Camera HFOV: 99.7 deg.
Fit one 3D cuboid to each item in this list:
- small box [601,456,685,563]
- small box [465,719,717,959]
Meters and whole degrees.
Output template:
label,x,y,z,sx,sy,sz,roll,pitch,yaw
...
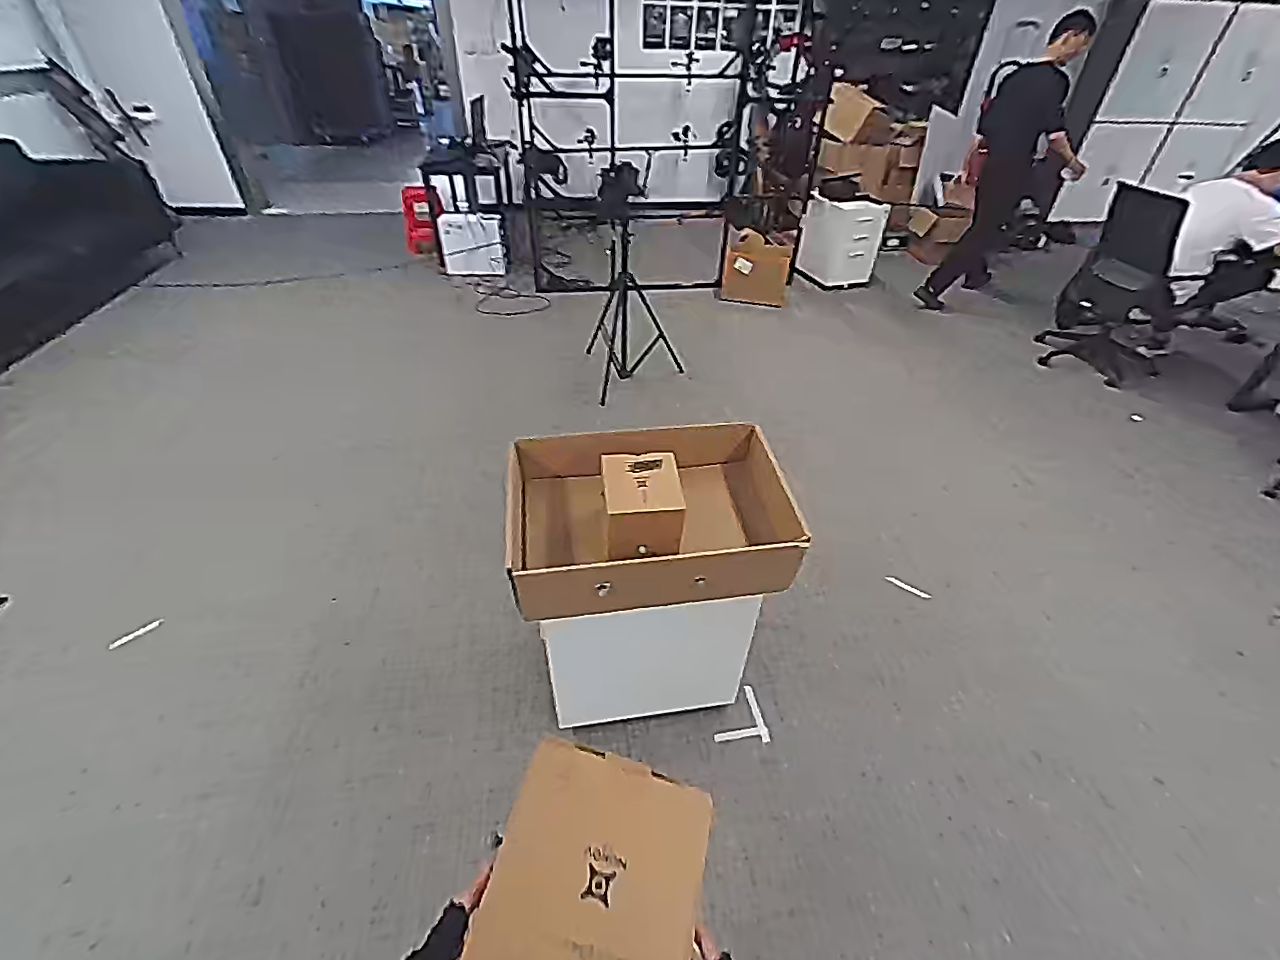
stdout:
label,x,y,z,sx,sy,sz,roll,pitch,yaw
small box,-0.001,0.067,1.222,0.168,0.176,0.179,-4,46,-7
small box,-0.046,0.351,0.486,0.168,0.176,0.179,20,48,0
